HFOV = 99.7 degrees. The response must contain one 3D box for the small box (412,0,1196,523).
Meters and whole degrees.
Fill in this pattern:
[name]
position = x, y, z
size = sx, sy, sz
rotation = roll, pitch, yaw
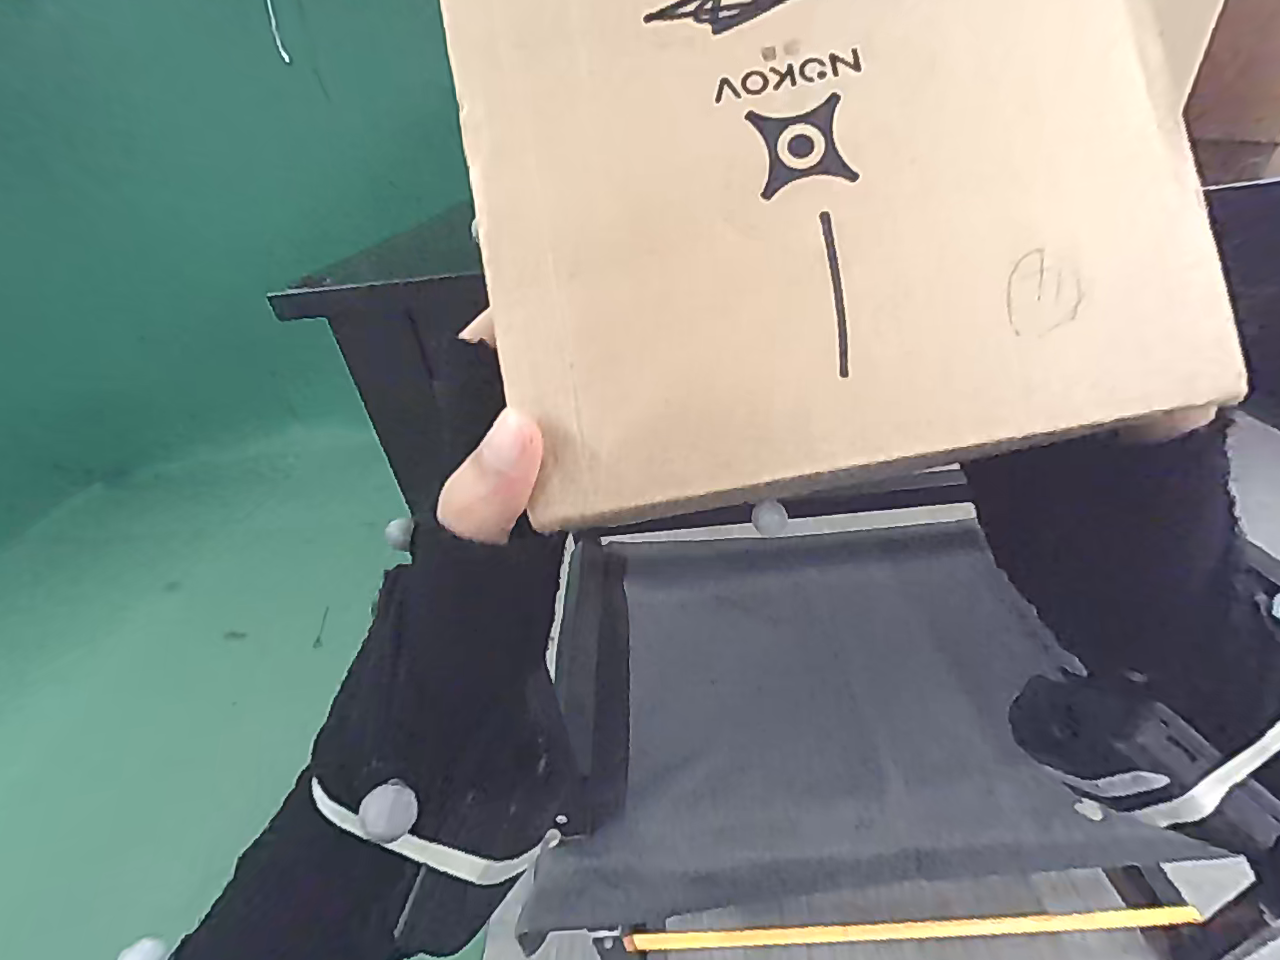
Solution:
[small box]
position = 0.034, -0.081, 0.211
size = 0.168, 0.179, 0.176
rotation = -11, -5, 4
